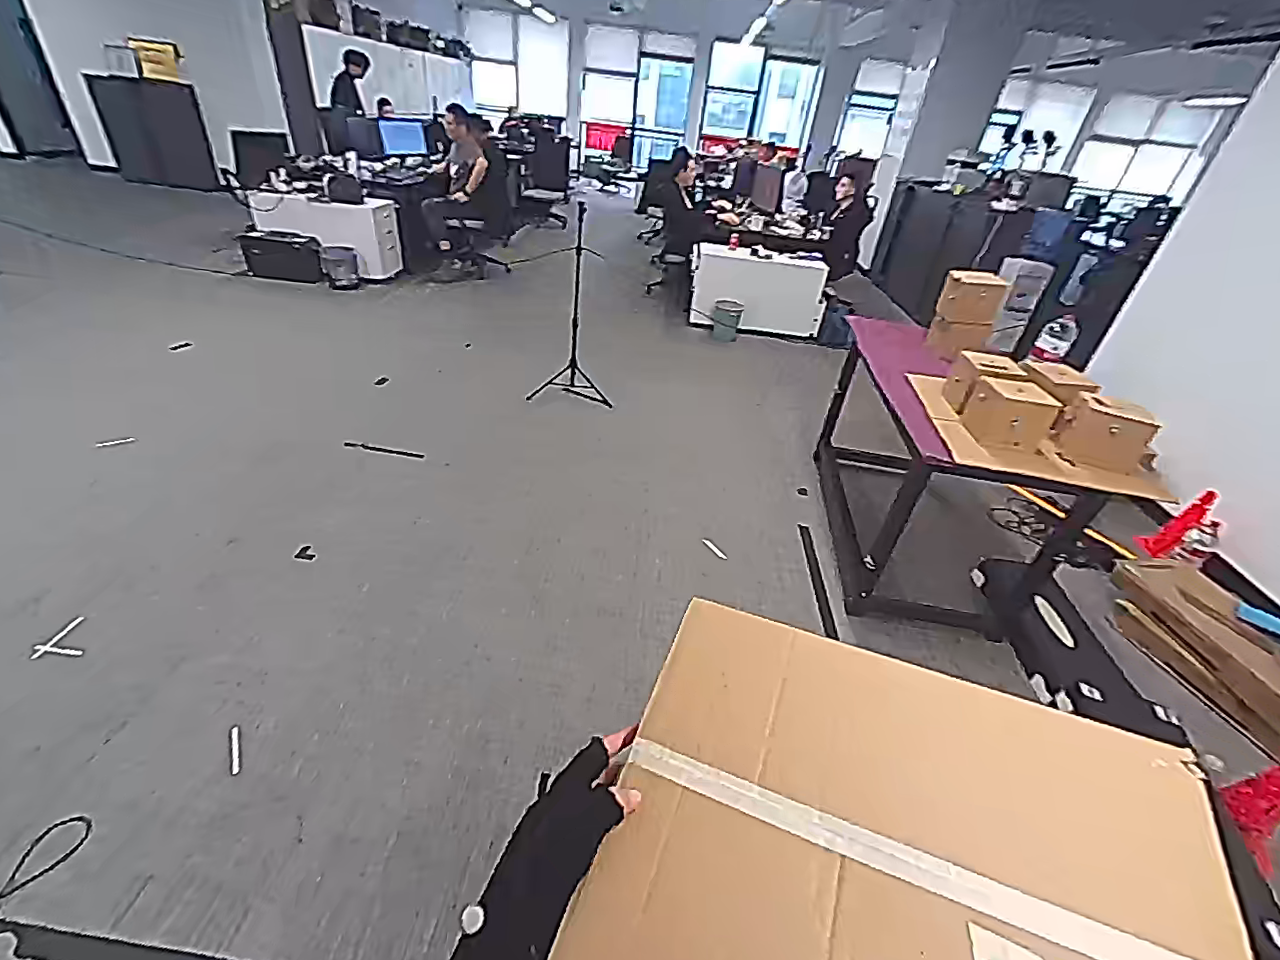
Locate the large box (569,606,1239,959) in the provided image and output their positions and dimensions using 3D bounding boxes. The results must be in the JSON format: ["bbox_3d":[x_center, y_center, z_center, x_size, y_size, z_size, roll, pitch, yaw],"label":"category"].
[{"bbox_3d":[0.196,0.377,0.496,0.408,0.320,0.320,15,48,19],"label":"large box"}]
